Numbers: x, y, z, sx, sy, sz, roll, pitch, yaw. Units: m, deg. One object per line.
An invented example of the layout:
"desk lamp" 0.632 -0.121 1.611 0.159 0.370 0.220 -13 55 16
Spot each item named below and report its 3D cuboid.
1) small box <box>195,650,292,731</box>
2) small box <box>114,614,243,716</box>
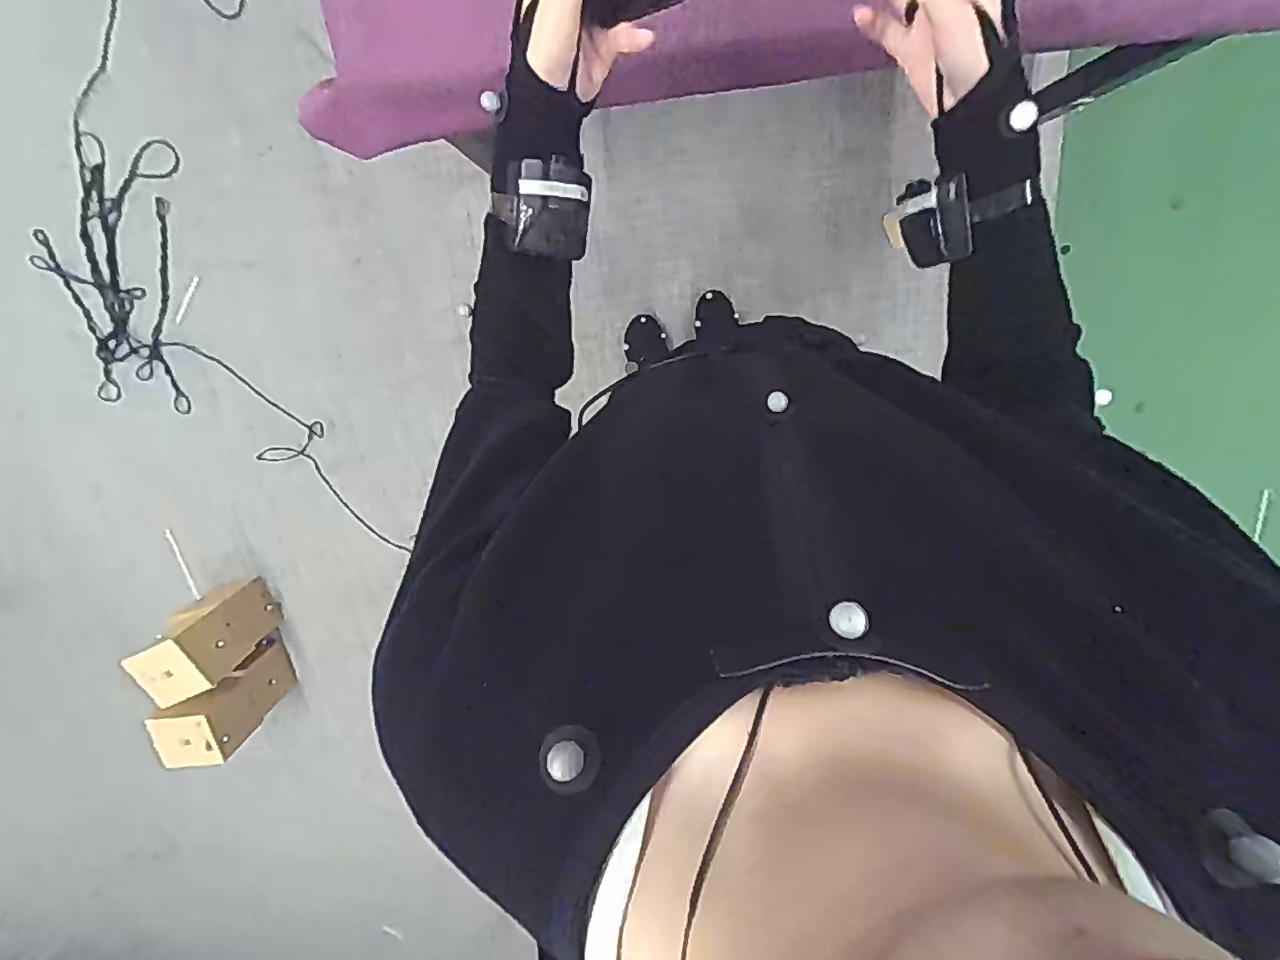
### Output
"small box" -1.228 0.642 1.673 0.168 0.176 0.179 -6 108 4
"small box" -1.223 0.490 1.456 0.179 0.176 0.168 -23 106 9
